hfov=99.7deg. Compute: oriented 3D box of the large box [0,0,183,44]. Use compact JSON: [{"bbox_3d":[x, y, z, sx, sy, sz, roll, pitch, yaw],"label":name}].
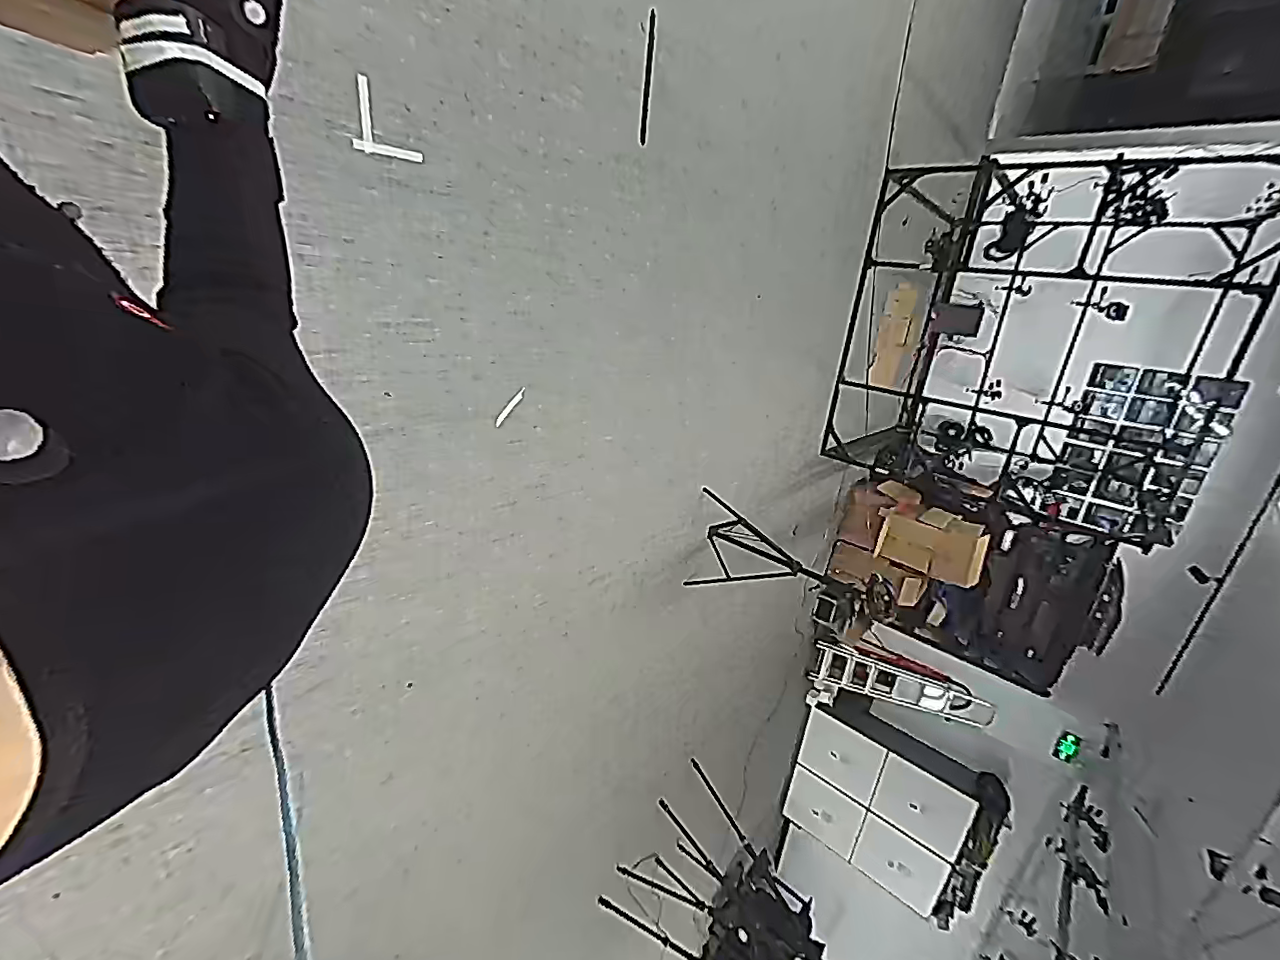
[{"bbox_3d":[-0.549,-0.501,0.278,0.408,0.320,0.320,-14,124,-52],"label":"large box"}]
